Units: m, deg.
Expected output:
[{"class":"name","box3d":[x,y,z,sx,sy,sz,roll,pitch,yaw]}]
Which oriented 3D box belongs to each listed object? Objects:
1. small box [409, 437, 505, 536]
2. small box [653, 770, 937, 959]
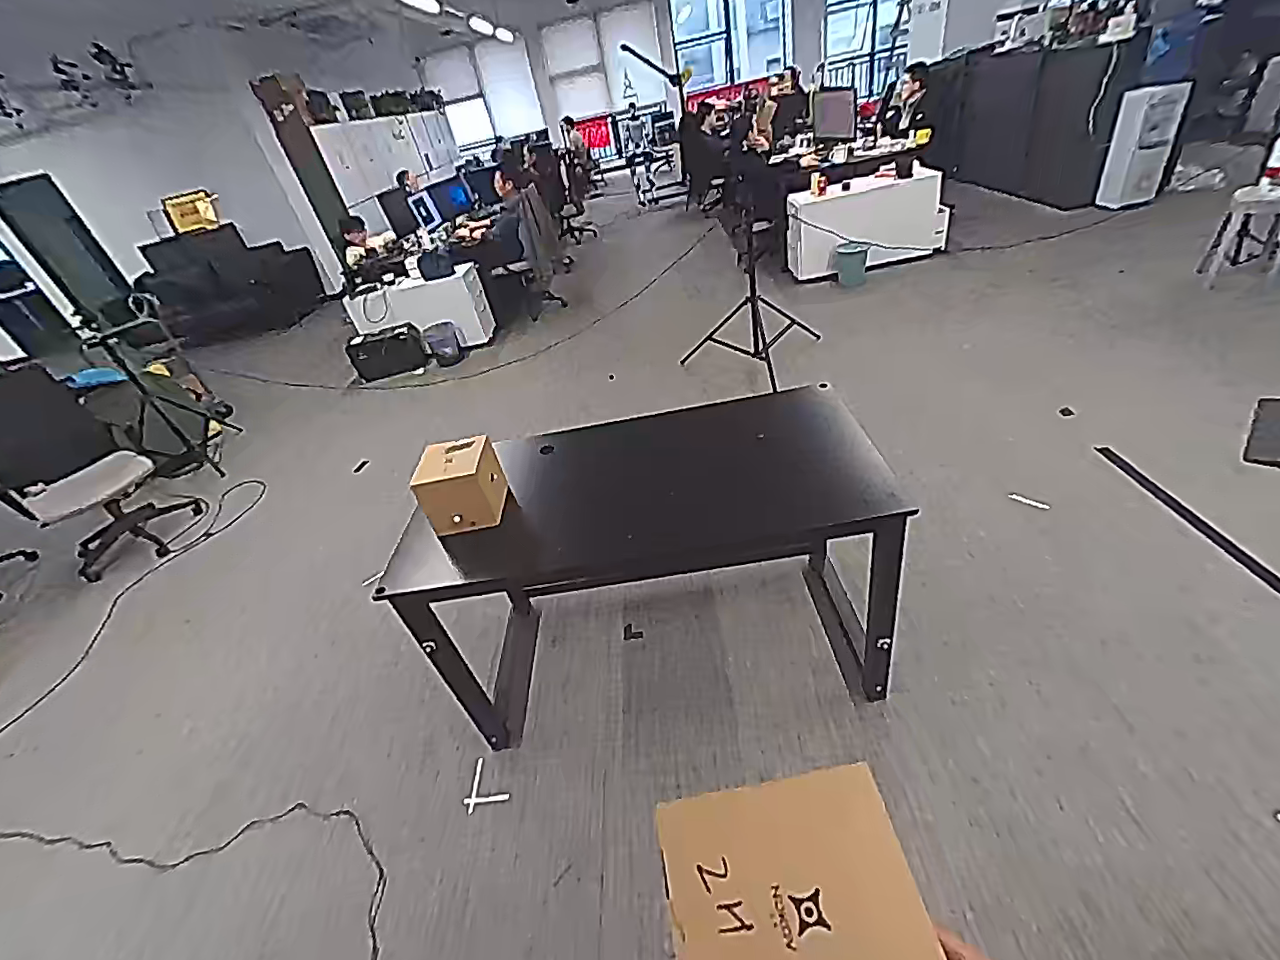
[{"class":"small box","box3d":[-0.456,0.017,1.381,0.168,0.176,0.179,-11,37,4]},{"class":"small box","box3d":[0.113,0.359,0.438,0.179,0.176,0.168,-11,47,-1]}]
